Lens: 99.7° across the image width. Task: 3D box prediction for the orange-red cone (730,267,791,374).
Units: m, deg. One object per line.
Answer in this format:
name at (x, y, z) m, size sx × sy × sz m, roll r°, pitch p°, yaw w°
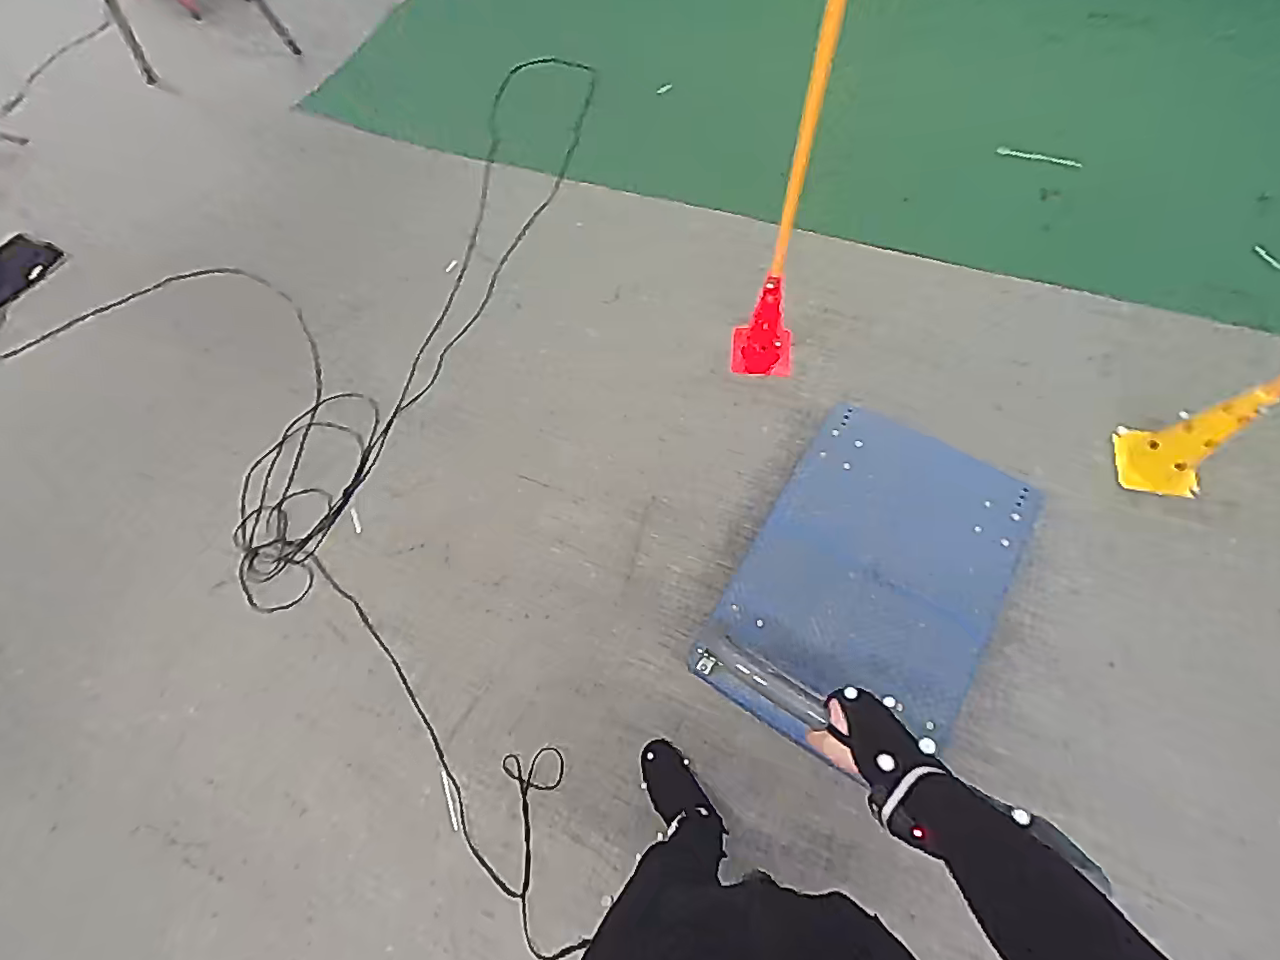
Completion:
orange-red cone at (0.397, -0.520, 1.704) m, size 0.199 × 0.360 × 0.198 m, roll 5°, pitch 66°, yaw 10°
